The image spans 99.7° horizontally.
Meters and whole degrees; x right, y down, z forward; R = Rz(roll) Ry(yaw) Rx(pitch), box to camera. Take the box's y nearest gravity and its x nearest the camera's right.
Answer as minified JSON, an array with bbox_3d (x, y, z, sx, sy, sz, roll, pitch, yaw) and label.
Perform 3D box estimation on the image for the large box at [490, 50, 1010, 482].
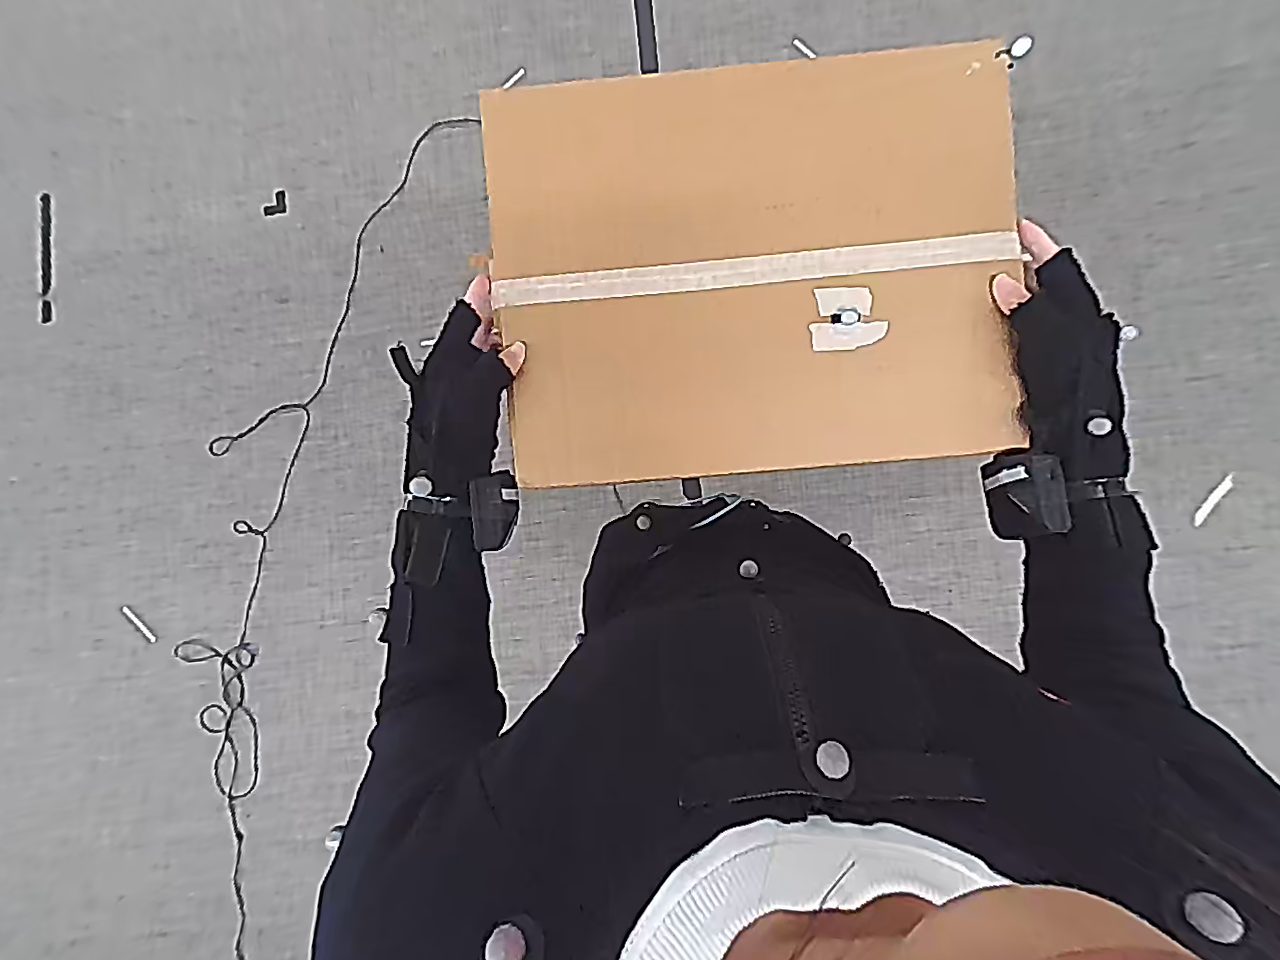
[{"bbox_3d":[0.090,-0.175,0.584,0.408,0.320,0.320,-5,93,1],"label":"large box"}]
